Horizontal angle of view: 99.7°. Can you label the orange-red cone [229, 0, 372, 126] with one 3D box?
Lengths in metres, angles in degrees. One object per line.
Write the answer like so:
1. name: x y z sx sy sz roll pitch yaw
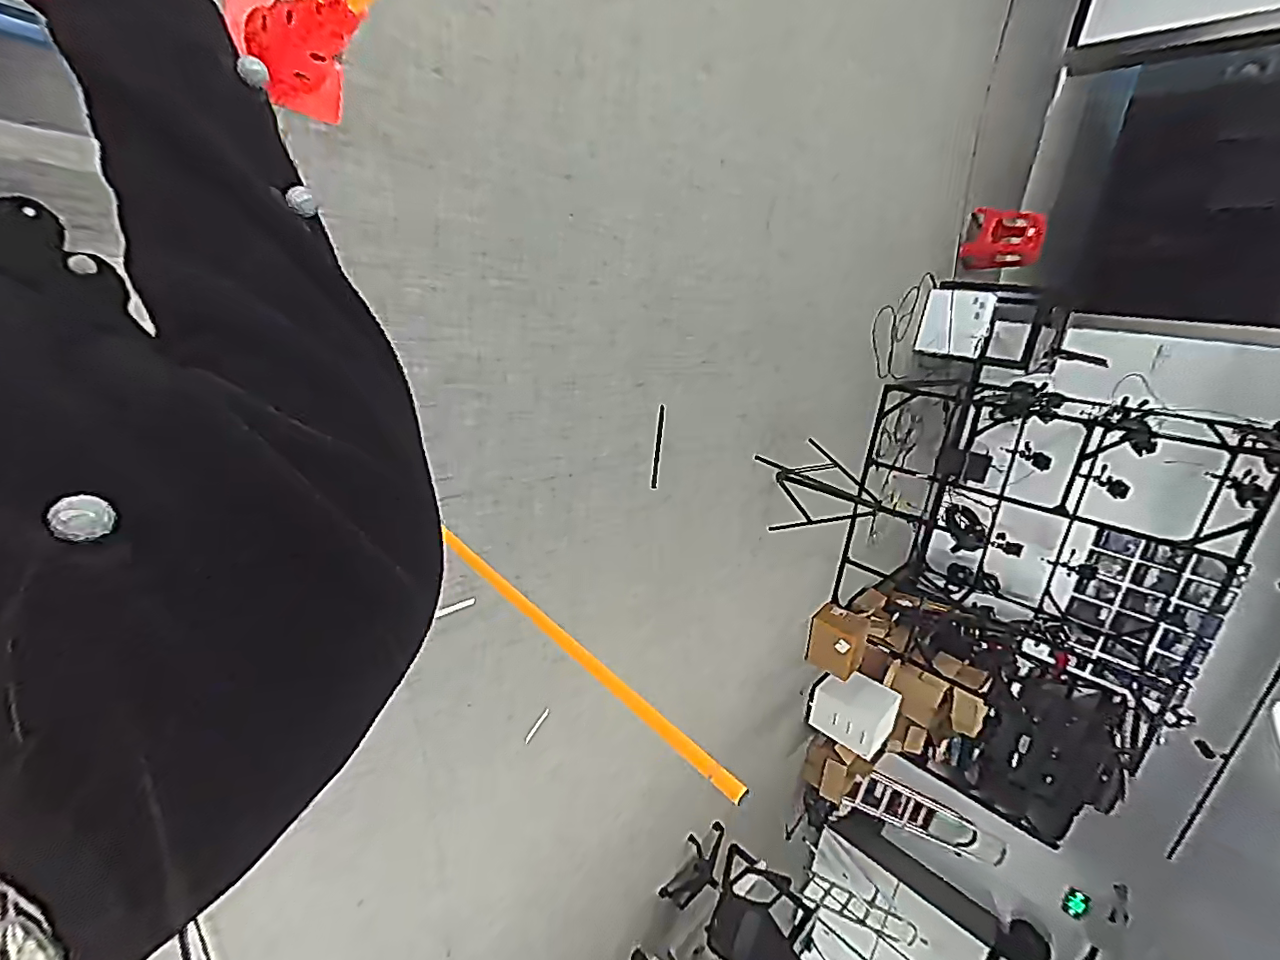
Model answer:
1. orange-red cone: -0.566 -0.792 0.965 0.199 0.360 0.198 -4 110 -49
